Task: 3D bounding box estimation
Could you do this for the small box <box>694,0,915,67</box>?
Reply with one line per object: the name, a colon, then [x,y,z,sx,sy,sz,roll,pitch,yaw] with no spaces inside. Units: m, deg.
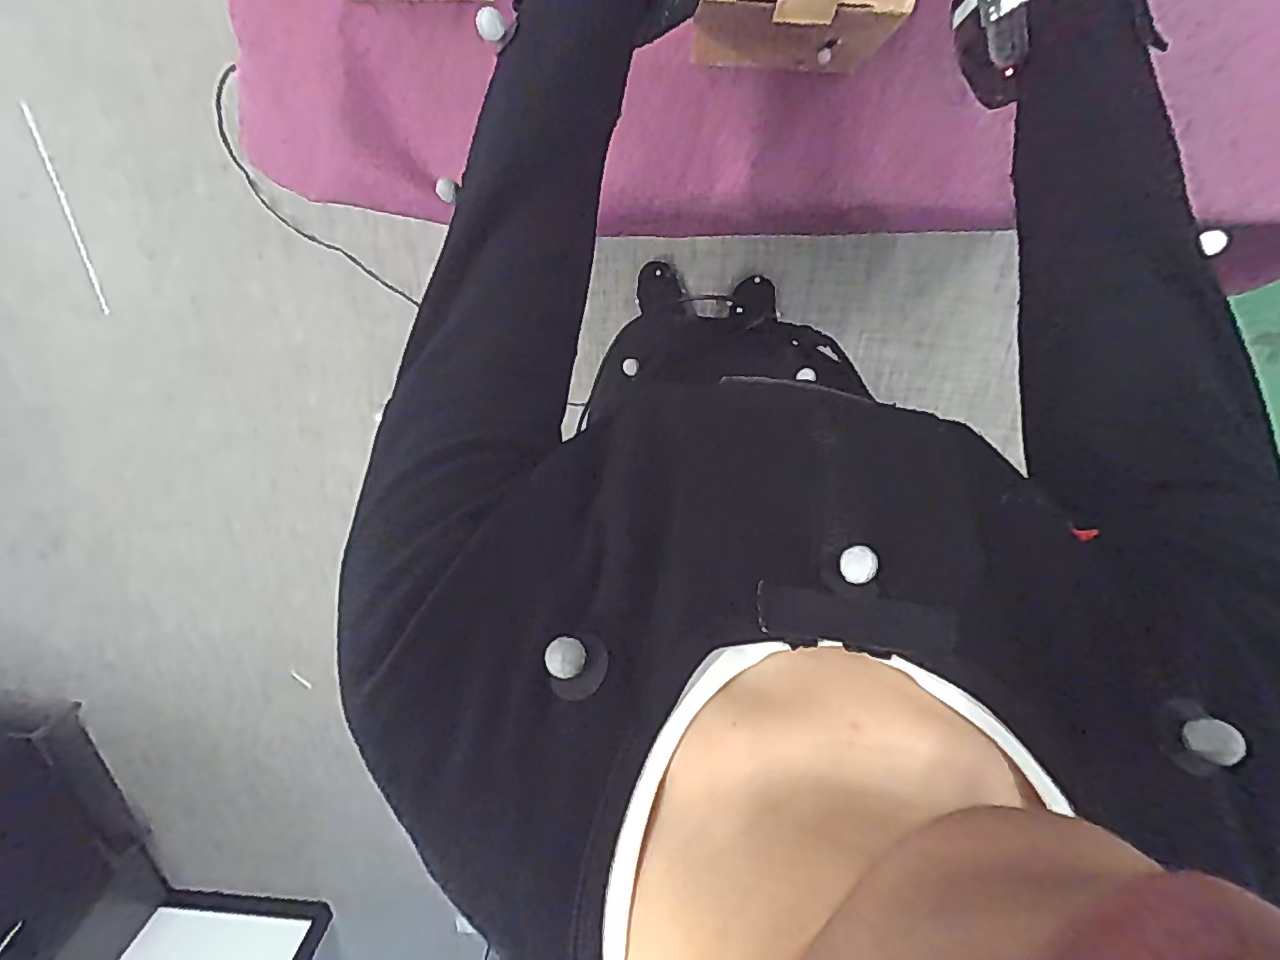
small box: [0.136,-0.465,0.440,0.168,0.176,0.179,5,114,2]
